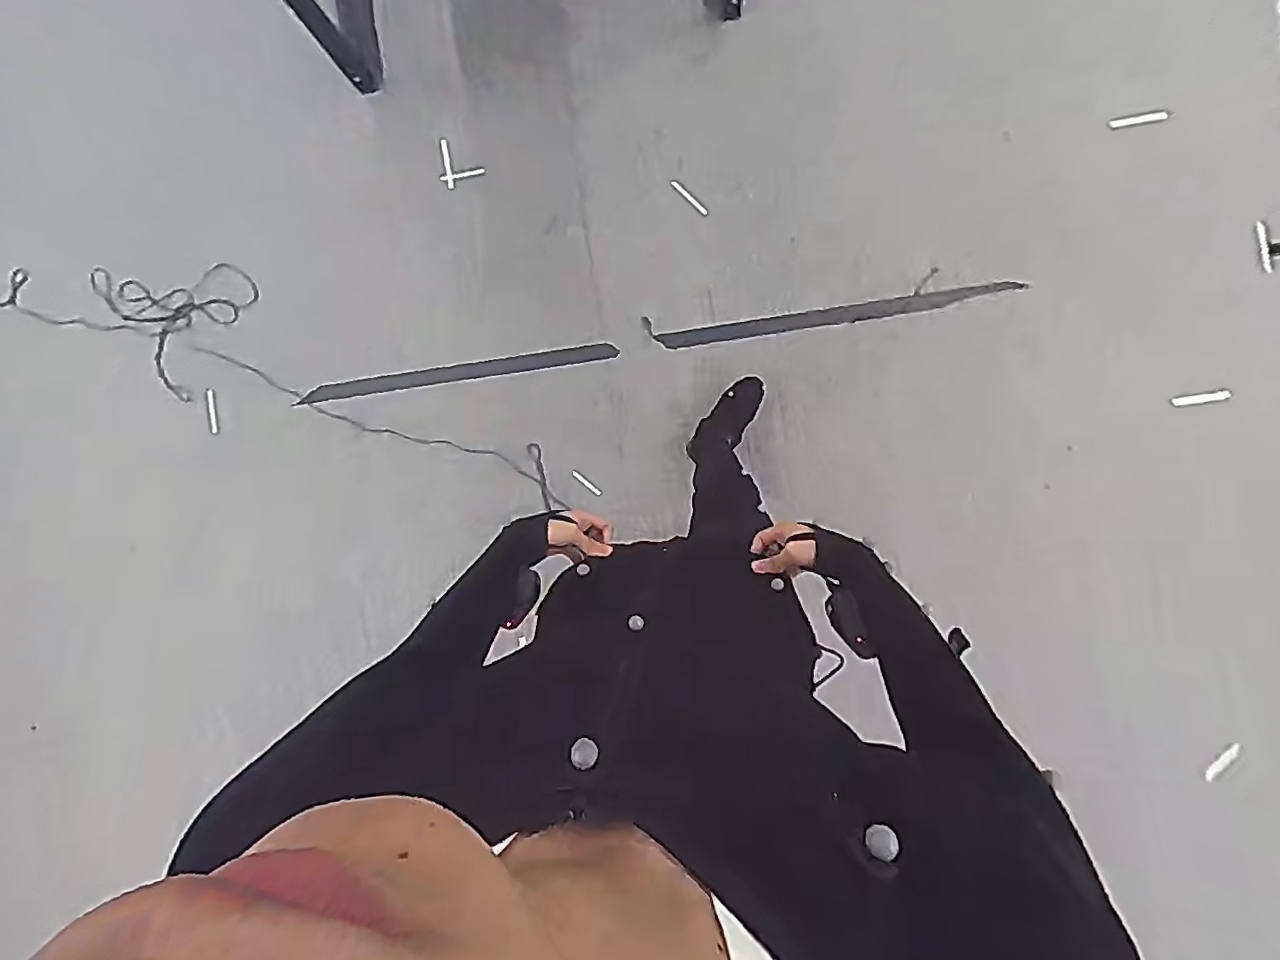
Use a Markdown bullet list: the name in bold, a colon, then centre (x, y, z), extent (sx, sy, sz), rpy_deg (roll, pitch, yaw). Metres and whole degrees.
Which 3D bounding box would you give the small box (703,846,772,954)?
- **small box**: centre (0.269, 1.172, 1.518), extent (0.168, 0.176, 0.179), rpy_deg (-7, 89, 3)
